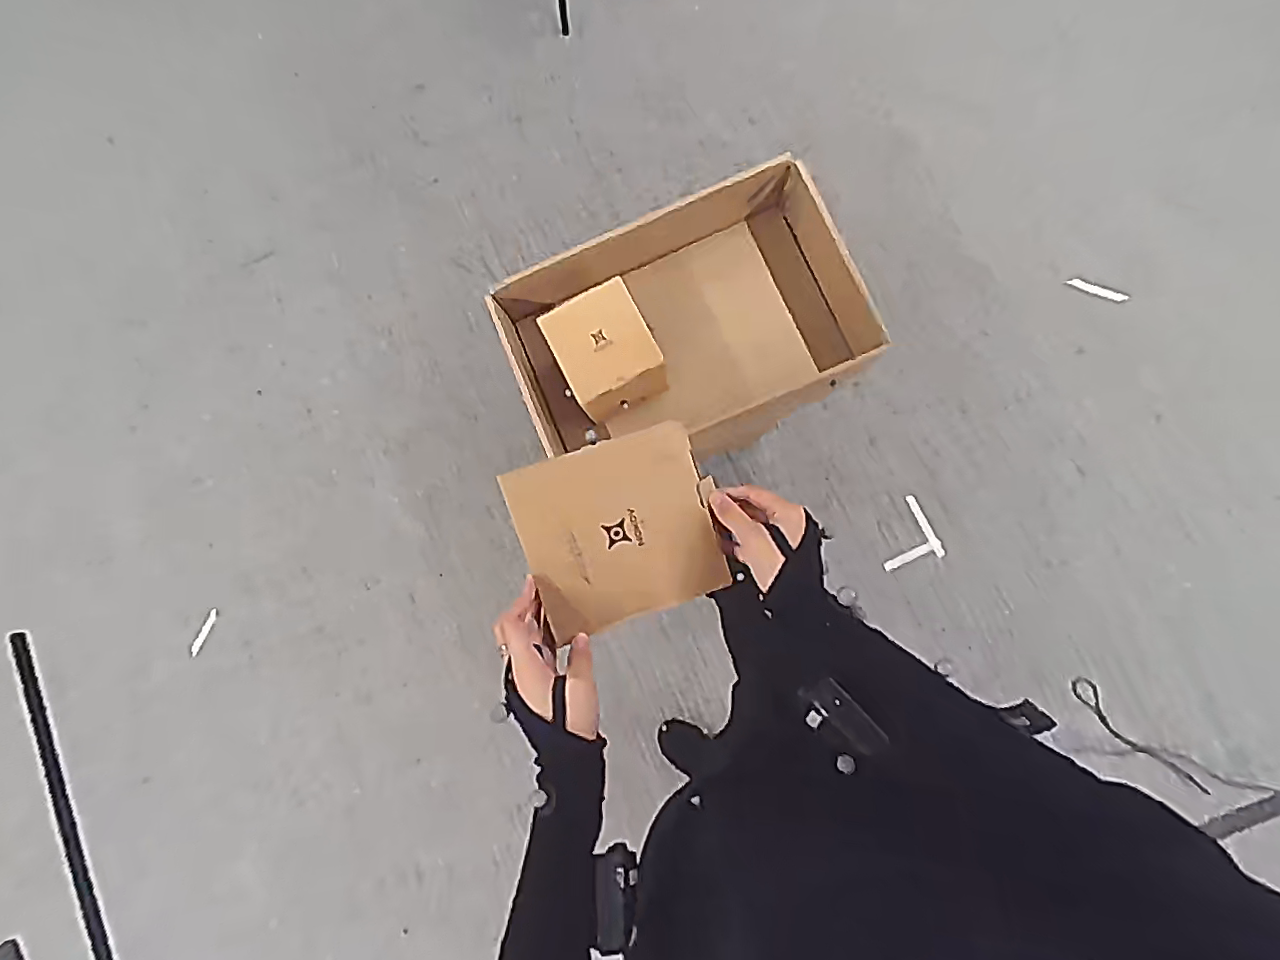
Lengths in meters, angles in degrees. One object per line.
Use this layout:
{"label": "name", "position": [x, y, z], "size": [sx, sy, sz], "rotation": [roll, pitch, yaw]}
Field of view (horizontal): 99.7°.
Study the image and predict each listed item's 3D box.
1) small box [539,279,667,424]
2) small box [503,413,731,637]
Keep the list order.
{"label": "small box", "position": [-0.060, -0.227, 0.999], "size": [0.168, 0.176, 0.179], "rotation": [-28, 83, 1]}
{"label": "small box", "position": [-0.031, 0.036, 0.568], "size": [0.179, 0.176, 0.168], "rotation": [-19, 94, -8]}
